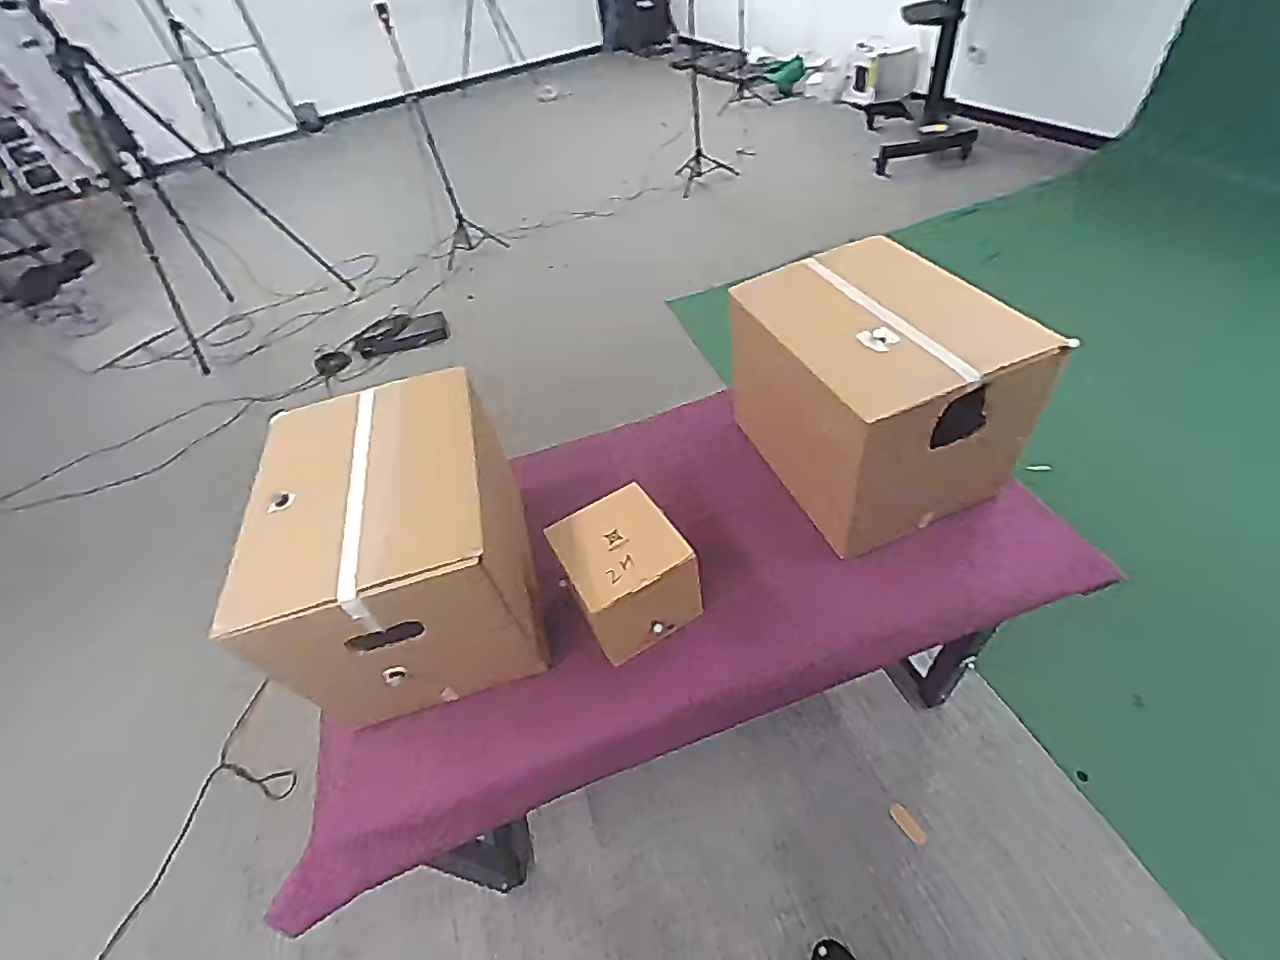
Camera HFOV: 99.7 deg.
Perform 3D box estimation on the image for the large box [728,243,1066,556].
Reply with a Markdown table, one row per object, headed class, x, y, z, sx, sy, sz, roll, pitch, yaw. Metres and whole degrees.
| class | x | y | z | sx | sy | sz | roll | pitch | yaw |
| --- | --- | --- | --- | --- | --- | --- | --- | --- | --- |
| large box | 0.382 | -0.149 | 0.940 | 0.320 | 0.320 | 0.408 | -22 | 48 | -6 |
